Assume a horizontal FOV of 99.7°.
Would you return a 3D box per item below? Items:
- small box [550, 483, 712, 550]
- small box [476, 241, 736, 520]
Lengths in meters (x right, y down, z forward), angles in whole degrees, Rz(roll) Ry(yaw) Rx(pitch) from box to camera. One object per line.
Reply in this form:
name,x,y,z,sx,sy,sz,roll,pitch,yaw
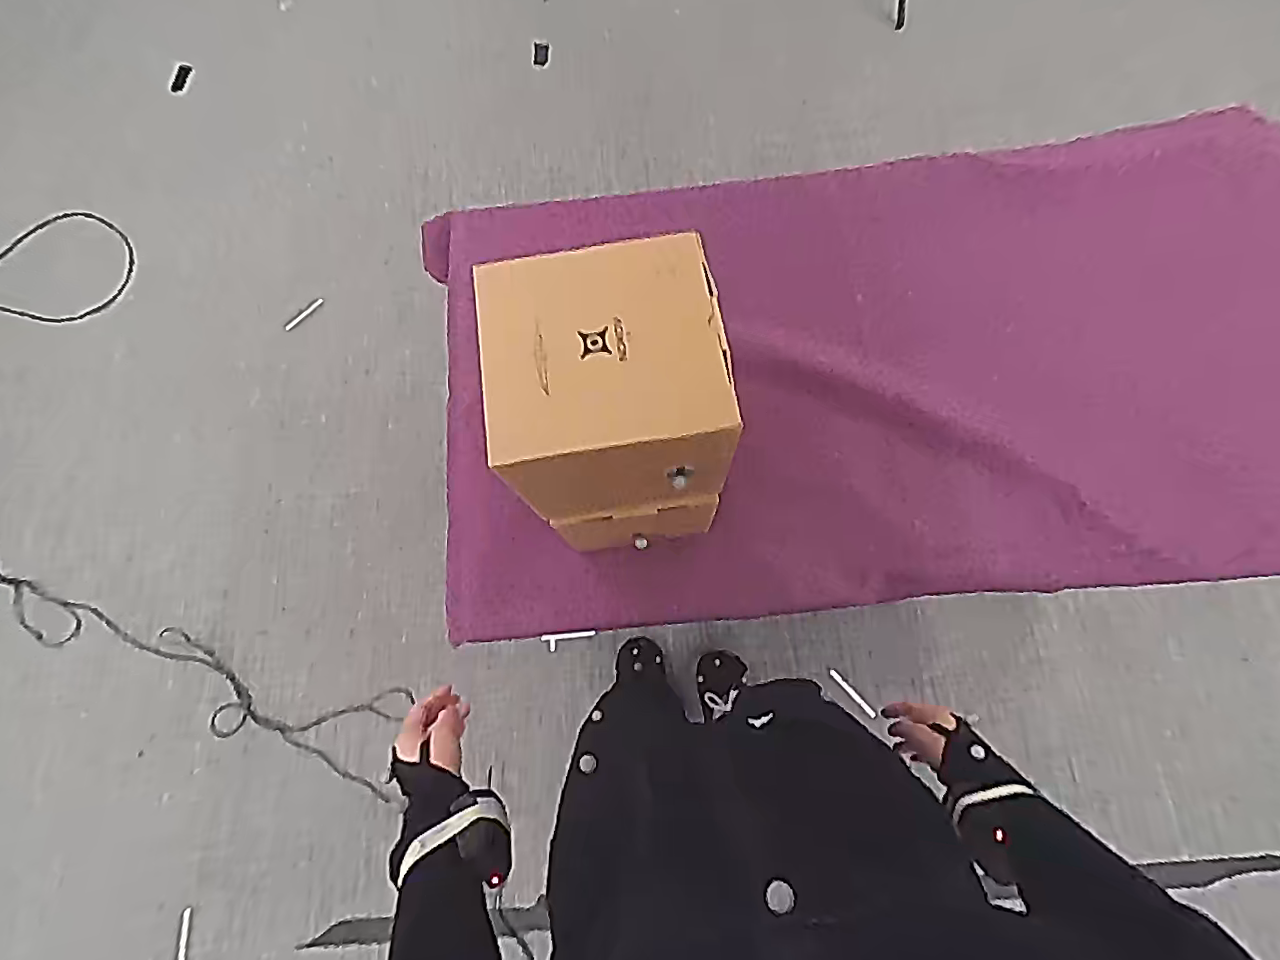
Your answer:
small box,-0.017,-0.027,0.626,0.168,0.176,0.179,-8,74,1
small box,-0.026,-0.072,0.471,0.179,0.176,0.168,-10,72,1
